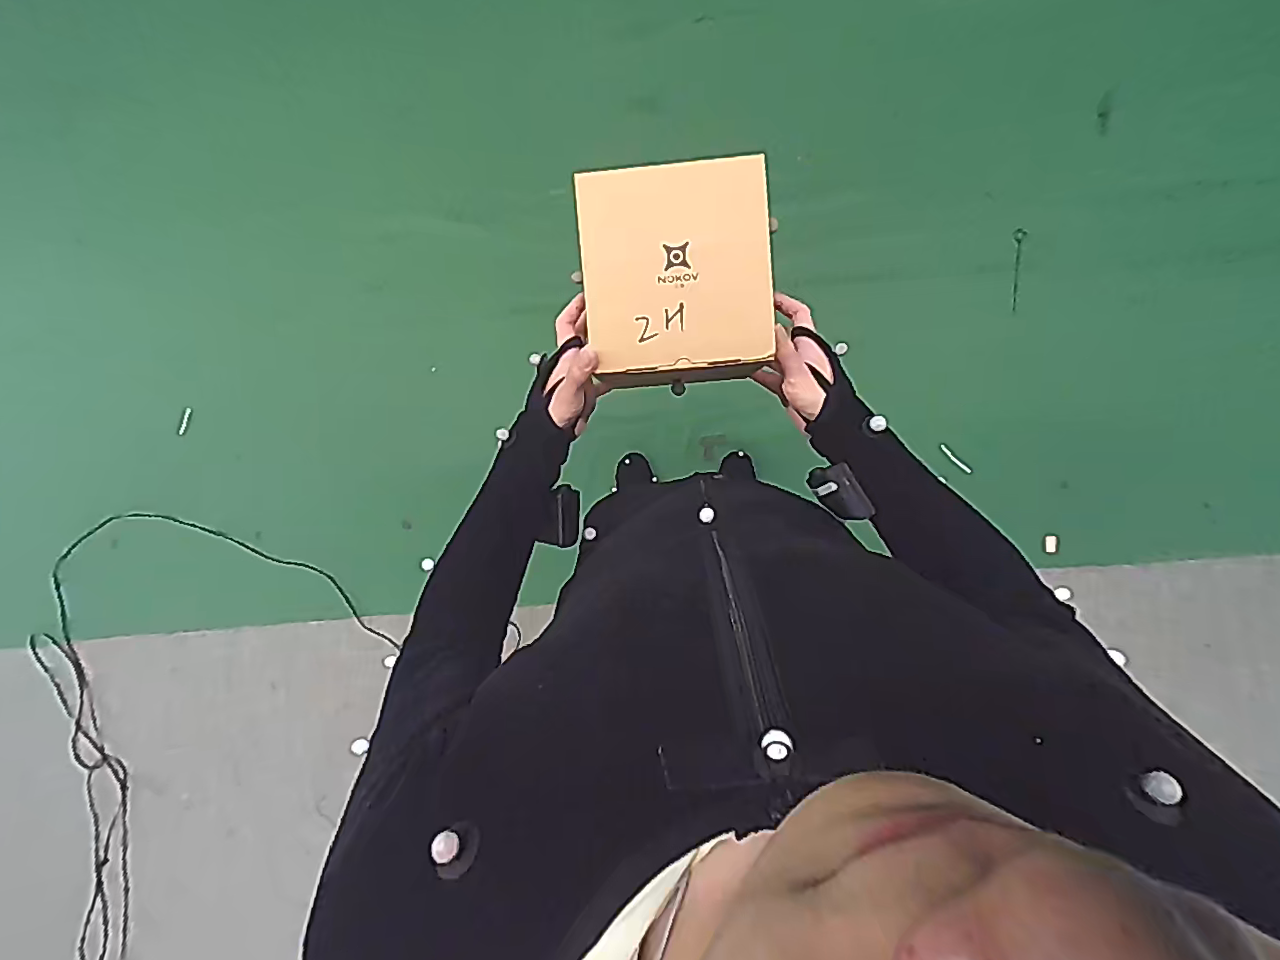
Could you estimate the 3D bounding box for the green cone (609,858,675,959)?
[{"bbox_3d":[-0.006,1.305,1.545,0.202,0.368,0.200,-5,92,4],"label":"green cone"}]
